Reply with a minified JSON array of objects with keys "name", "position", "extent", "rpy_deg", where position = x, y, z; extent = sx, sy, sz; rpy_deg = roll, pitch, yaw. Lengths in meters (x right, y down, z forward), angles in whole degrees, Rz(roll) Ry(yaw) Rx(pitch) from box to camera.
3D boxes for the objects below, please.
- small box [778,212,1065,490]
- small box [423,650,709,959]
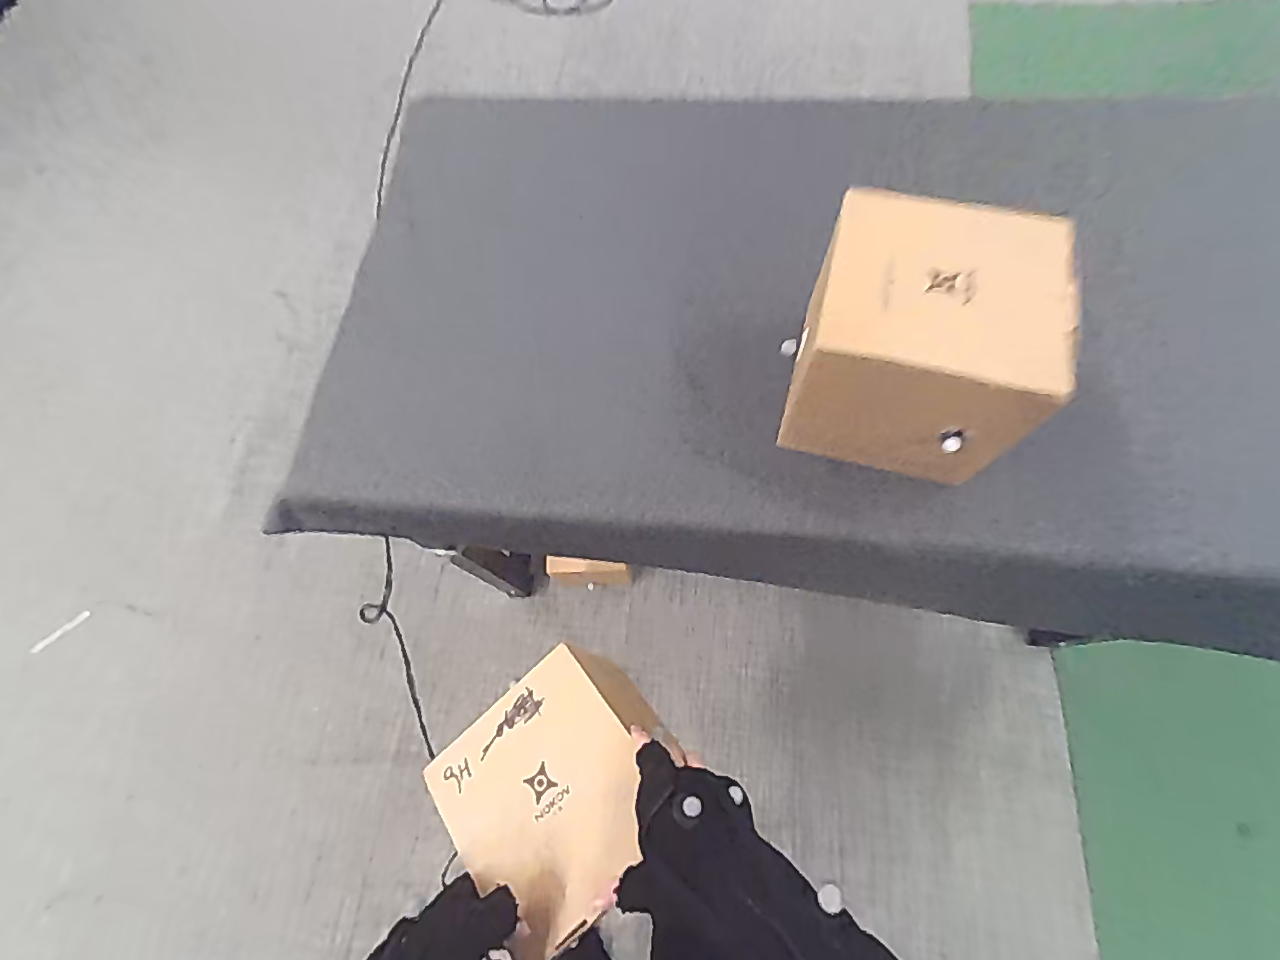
[{"name":"small box","position":[0.238,-0.105,0.491],"extent":[0.179,0.176,0.168],"rpy_deg":[14,69,10]},{"name":"small box","position":[-0.055,0.286,0.503],"extent":[0.168,0.176,0.179],"rpy_deg":[-41,62,-6]}]
